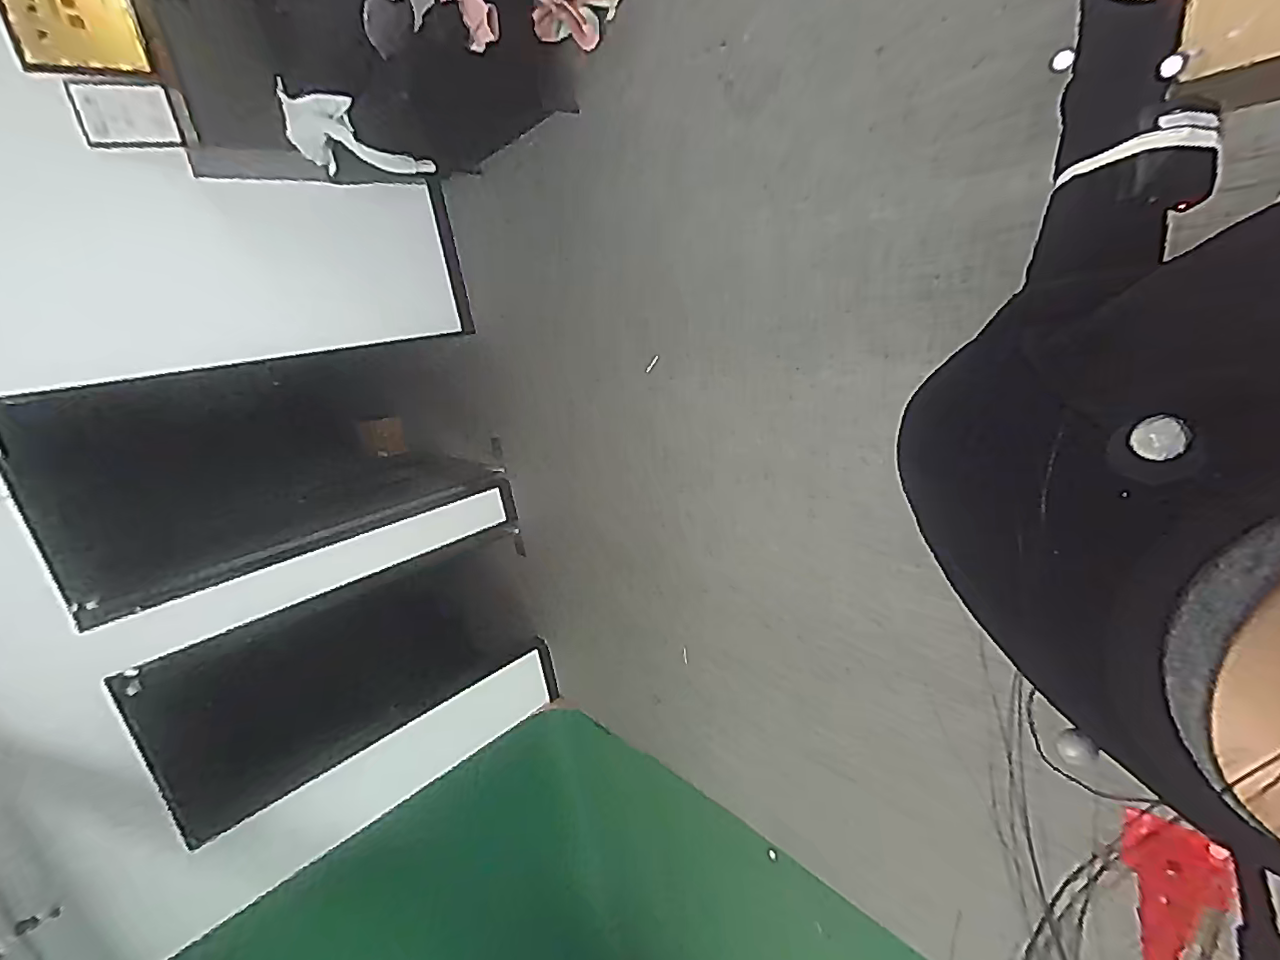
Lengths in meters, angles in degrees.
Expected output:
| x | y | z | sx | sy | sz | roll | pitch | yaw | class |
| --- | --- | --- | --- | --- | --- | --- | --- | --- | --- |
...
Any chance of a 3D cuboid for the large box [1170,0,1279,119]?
| x | y | z | sx | sy | sz | roll | pitch | yaw | class |
| --- | --- | --- | --- | --- | --- | --- | --- | --- | --- |
| 0.610 | -0.460 | 0.313 | 0.408 | 0.320 | 0.320 | 9 | 115 | 42 | large box |
